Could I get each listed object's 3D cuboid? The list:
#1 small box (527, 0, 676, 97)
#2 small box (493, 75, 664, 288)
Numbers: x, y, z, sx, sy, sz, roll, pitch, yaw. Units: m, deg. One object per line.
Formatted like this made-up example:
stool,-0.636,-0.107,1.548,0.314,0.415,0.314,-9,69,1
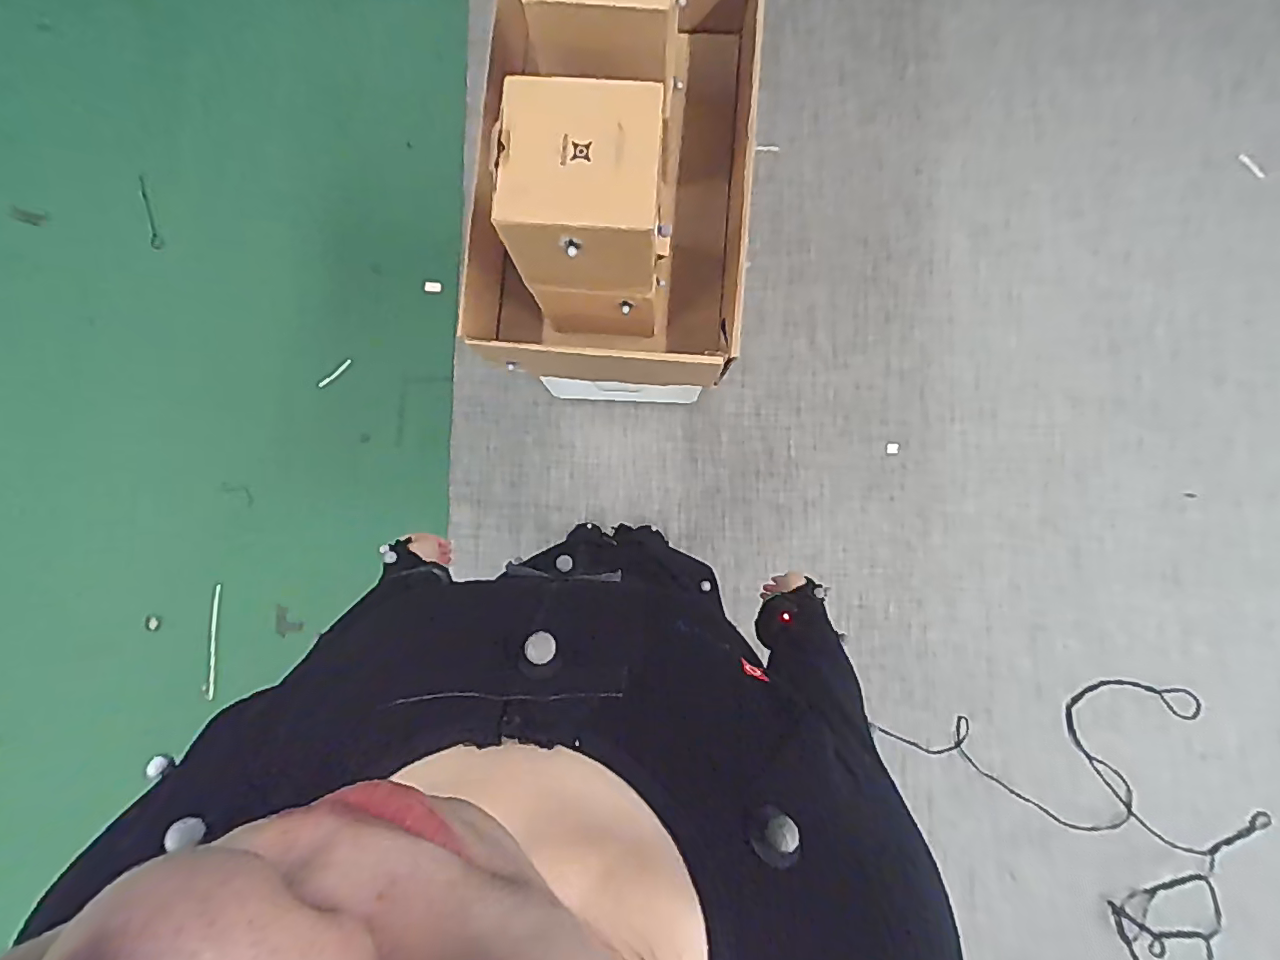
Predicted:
small box,-0.039,-0.603,0.673,0.168,0.176,0.179,6,90,0
small box,-0.065,-0.350,0.663,0.179,0.176,0.168,4,87,0
